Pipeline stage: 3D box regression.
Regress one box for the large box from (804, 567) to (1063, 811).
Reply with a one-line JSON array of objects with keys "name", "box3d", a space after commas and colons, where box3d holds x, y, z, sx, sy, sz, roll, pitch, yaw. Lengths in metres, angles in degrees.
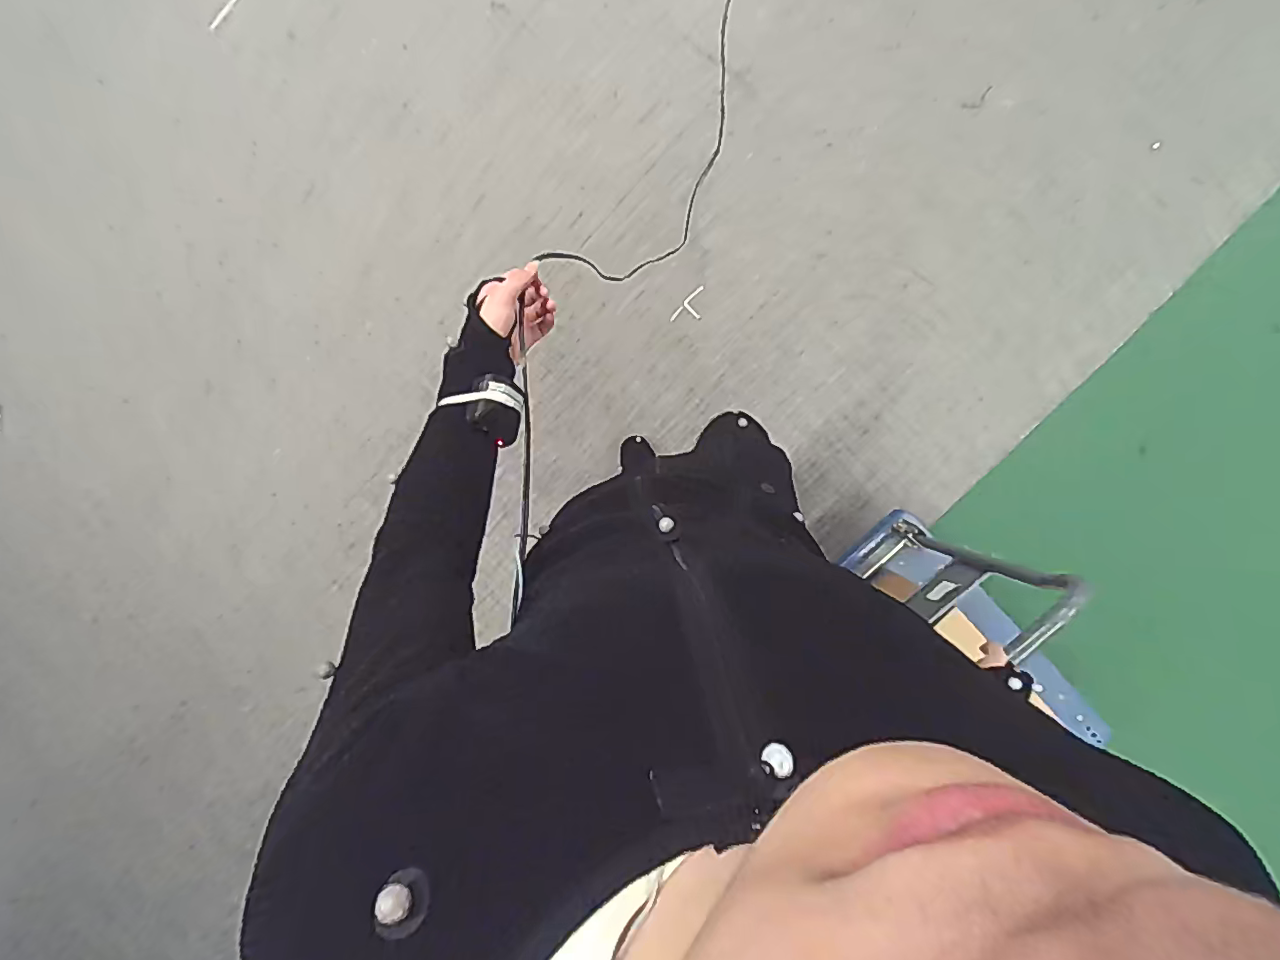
[{"name": "large box", "box3d": [0.686, 0.485, 1.334, 0.320, 0.320, 0.408, -43, 94, 4]}]
